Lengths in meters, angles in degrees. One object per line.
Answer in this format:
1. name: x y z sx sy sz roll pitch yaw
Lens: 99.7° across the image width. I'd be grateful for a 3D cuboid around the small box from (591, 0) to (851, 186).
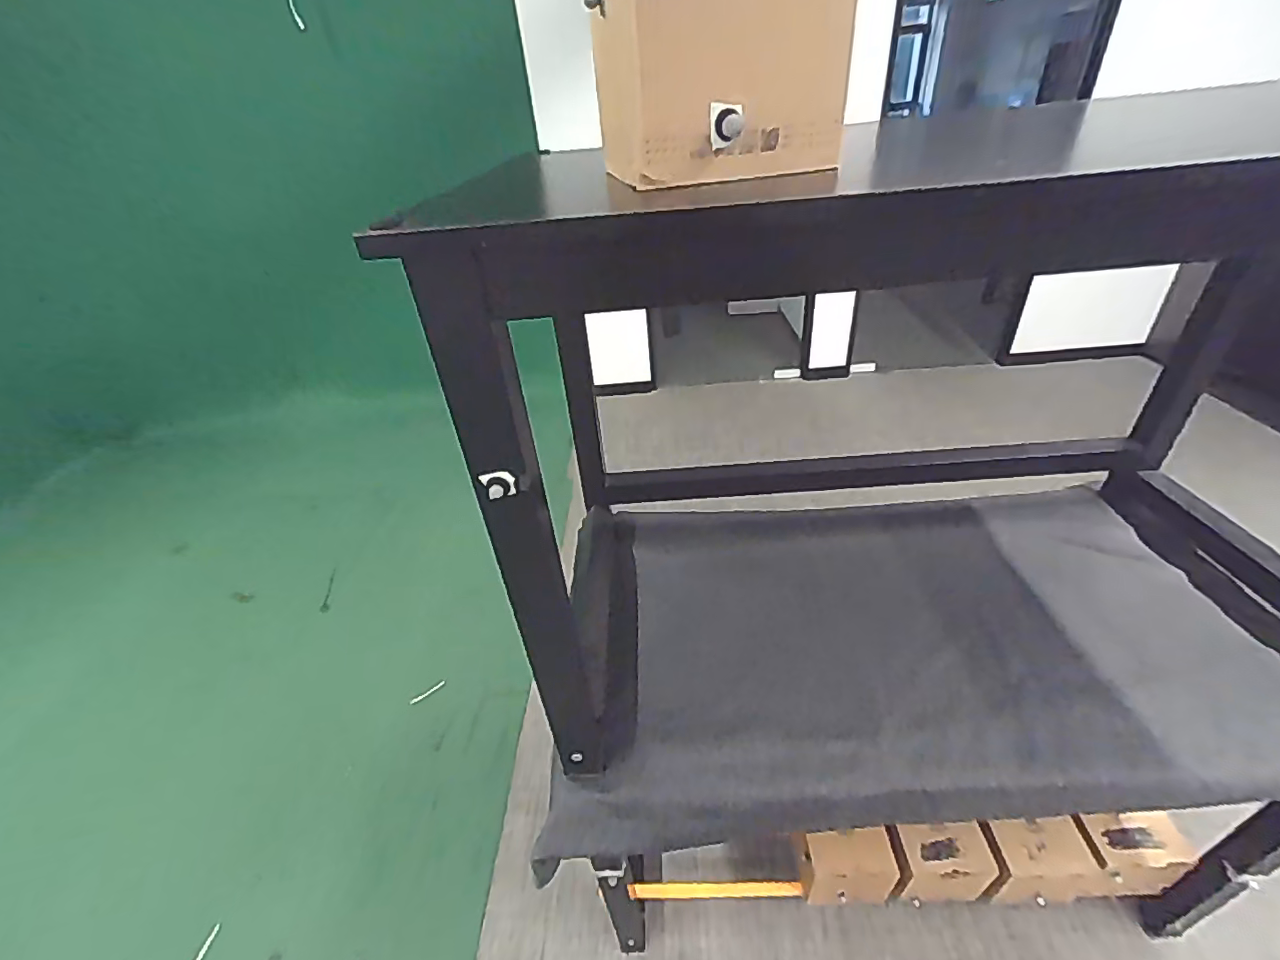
1. small box: 0.053 -0.350 0.445 0.168 0.176 0.179 -11 36 -6
